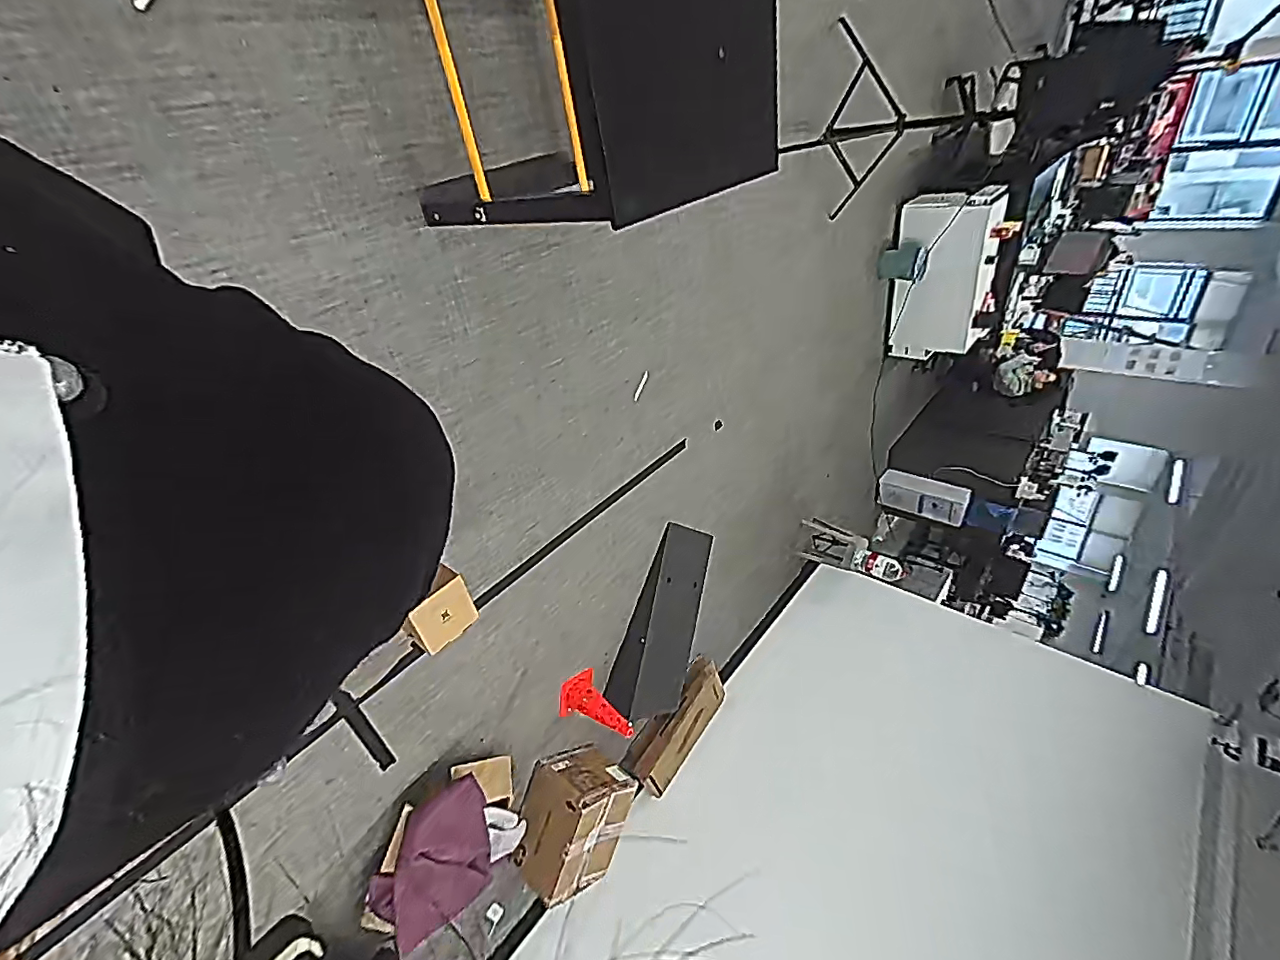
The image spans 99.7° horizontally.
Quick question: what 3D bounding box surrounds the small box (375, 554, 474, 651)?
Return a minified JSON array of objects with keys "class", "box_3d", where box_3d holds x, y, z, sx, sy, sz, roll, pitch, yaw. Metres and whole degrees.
[{"class":"small box","box_3d":[-0.605,0.338,1.522,0.168,0.176,0.179,-40,133,-35]}]
